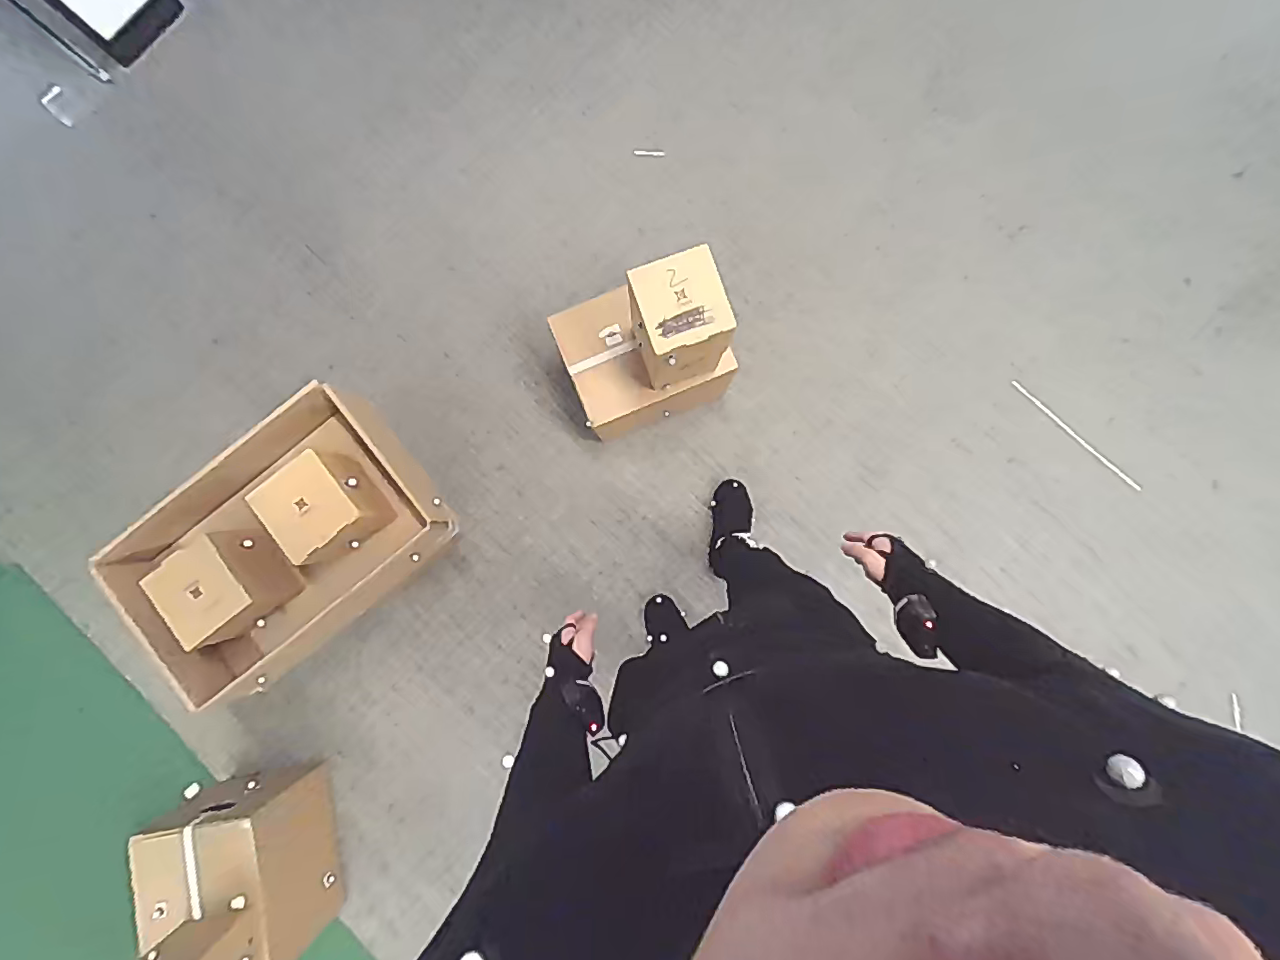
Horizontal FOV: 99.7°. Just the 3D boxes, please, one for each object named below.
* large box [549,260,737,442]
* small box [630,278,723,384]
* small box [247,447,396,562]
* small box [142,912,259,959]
[{"bbox_3d":[0.011,-0.337,1.512,0.408,0.320,0.320,-23,85,1],"label":"large box"},{"bbox_3d":[0.083,-0.336,1.264,0.168,0.176,0.179,-19,87,0],"label":"small box"},{"bbox_3d":[-0.663,0.054,1.147,0.168,0.176,0.179,-39,87,-1],"label":"small box"},{"bbox_3d":[-0.980,1.100,1.183,0.179,0.176,0.168,-11,86,-1],"label":"small box"}]
